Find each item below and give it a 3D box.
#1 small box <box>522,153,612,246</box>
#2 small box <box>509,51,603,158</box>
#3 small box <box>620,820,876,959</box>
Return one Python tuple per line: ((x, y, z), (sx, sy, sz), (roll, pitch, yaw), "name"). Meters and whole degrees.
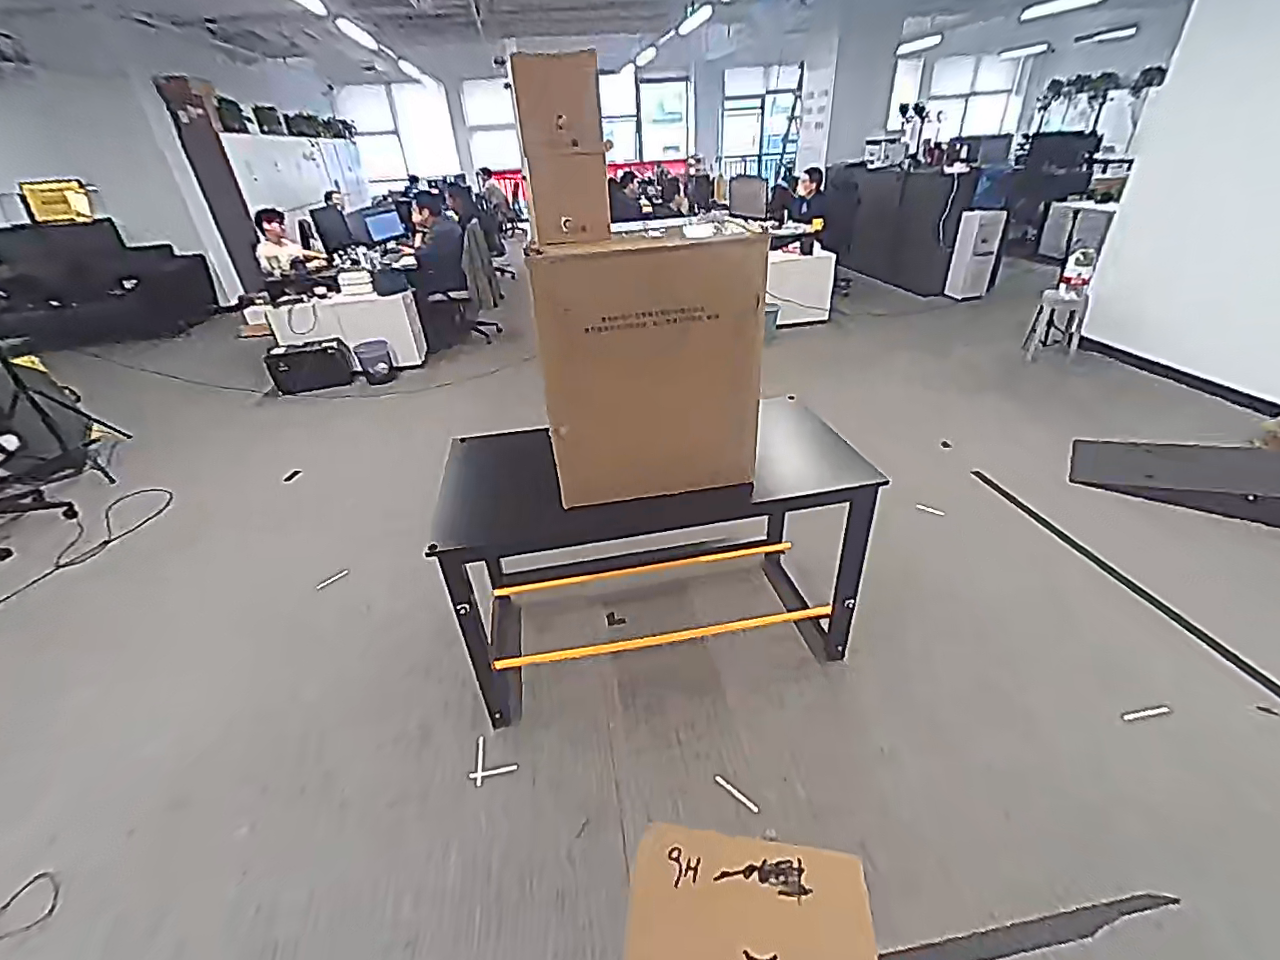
((-0.164, -0.629, 1.208), (0.168, 0.176, 0.179), (-11, 35, -11), "small box")
((-0.174, -0.766, 1.116), (0.168, 0.176, 0.179), (-10, 33, -9), "small box")
((0.069, 0.388, 0.406), (0.168, 0.176, 0.179), (9, 44, 1), "small box")
